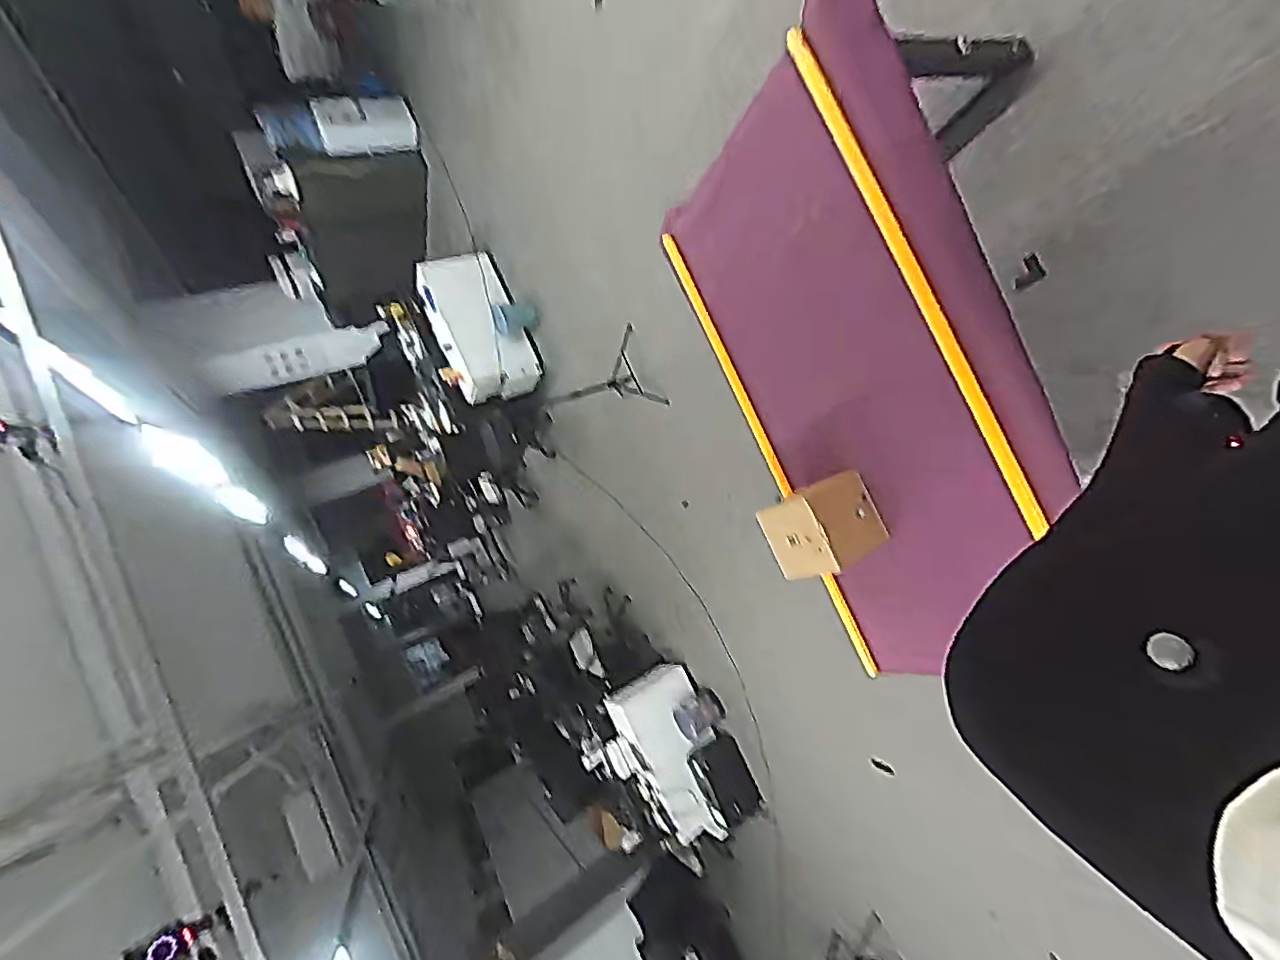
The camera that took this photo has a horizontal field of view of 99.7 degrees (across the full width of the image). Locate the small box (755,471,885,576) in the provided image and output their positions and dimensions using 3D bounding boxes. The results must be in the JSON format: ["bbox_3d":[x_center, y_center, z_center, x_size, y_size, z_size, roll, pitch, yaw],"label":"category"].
[{"bbox_3d":[0.394,0.097,1.189,0.168,0.176,0.179,65,152,4],"label":"small box"}]
